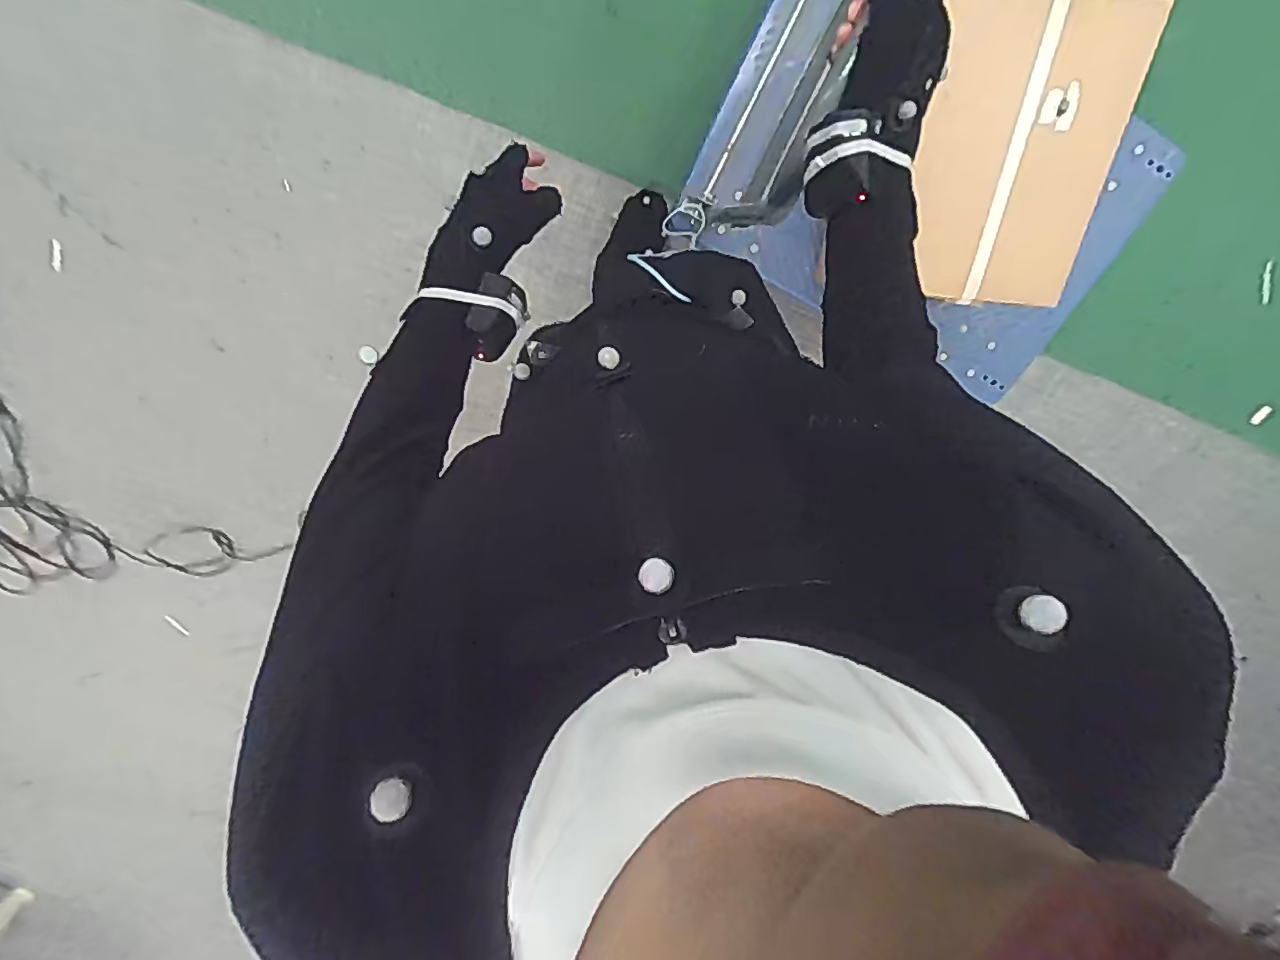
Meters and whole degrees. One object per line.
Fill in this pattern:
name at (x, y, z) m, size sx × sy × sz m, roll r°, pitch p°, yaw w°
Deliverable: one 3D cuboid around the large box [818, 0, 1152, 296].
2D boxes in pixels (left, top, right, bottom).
large box at (0.536, -0.548, 0.942) m, size 0.320 × 0.320 × 0.408 m, roll 5°, pitch 112°, yaw -2°
